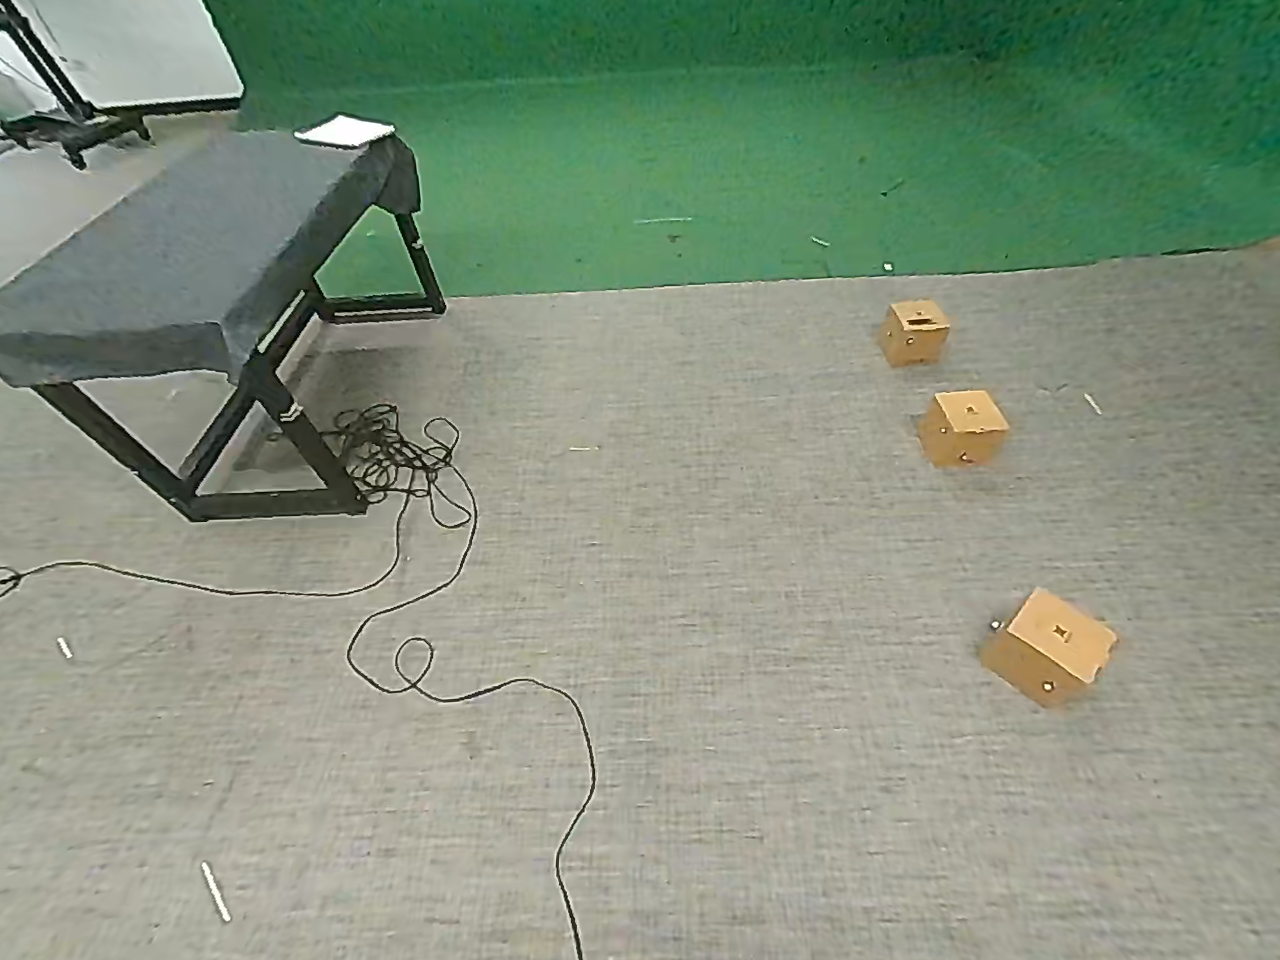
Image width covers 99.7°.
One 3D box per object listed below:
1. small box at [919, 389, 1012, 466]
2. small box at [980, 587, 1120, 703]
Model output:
[{"bbox_3d":[1.015,-0.164,1.707,0.168,0.176,0.179,-4,51,0],"label":"small box"},{"bbox_3d":[0.943,0.390,1.258,0.168,0.176,0.179,-37,57,-25],"label":"small box"}]
